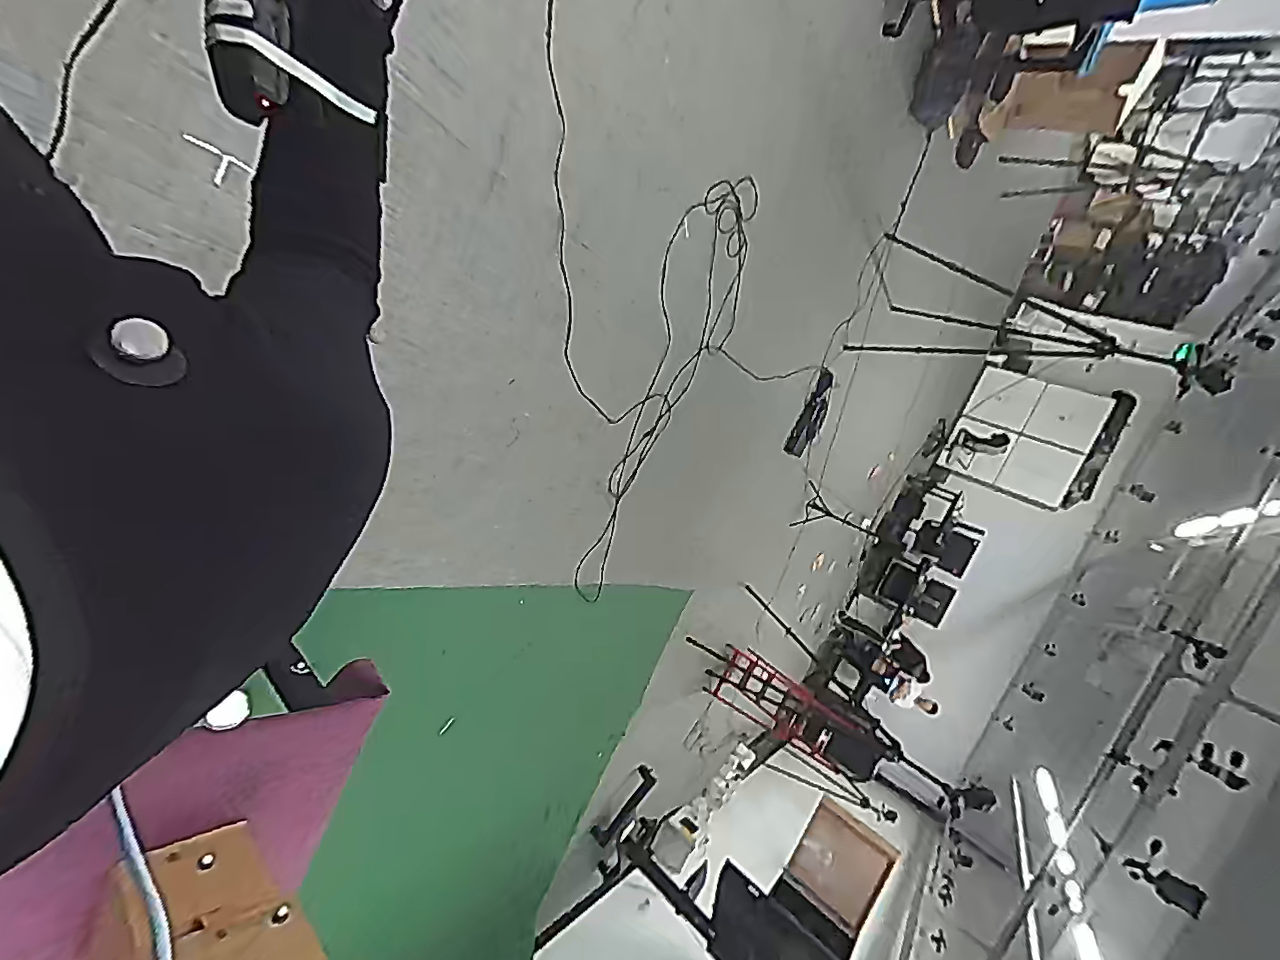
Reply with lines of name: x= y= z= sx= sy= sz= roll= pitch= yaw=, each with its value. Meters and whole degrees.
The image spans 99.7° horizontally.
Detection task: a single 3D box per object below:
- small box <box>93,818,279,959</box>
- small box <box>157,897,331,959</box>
small box: x=-0.690 y=0.667 z=0.819 sx=0.168 sy=0.176 sz=0.179 roll=13 pitch=103 yaw=-55
small box: x=-0.558 y=0.720 z=0.735 sx=0.168 sy=0.176 sz=0.179 roll=21 pitch=97 yaw=-56
